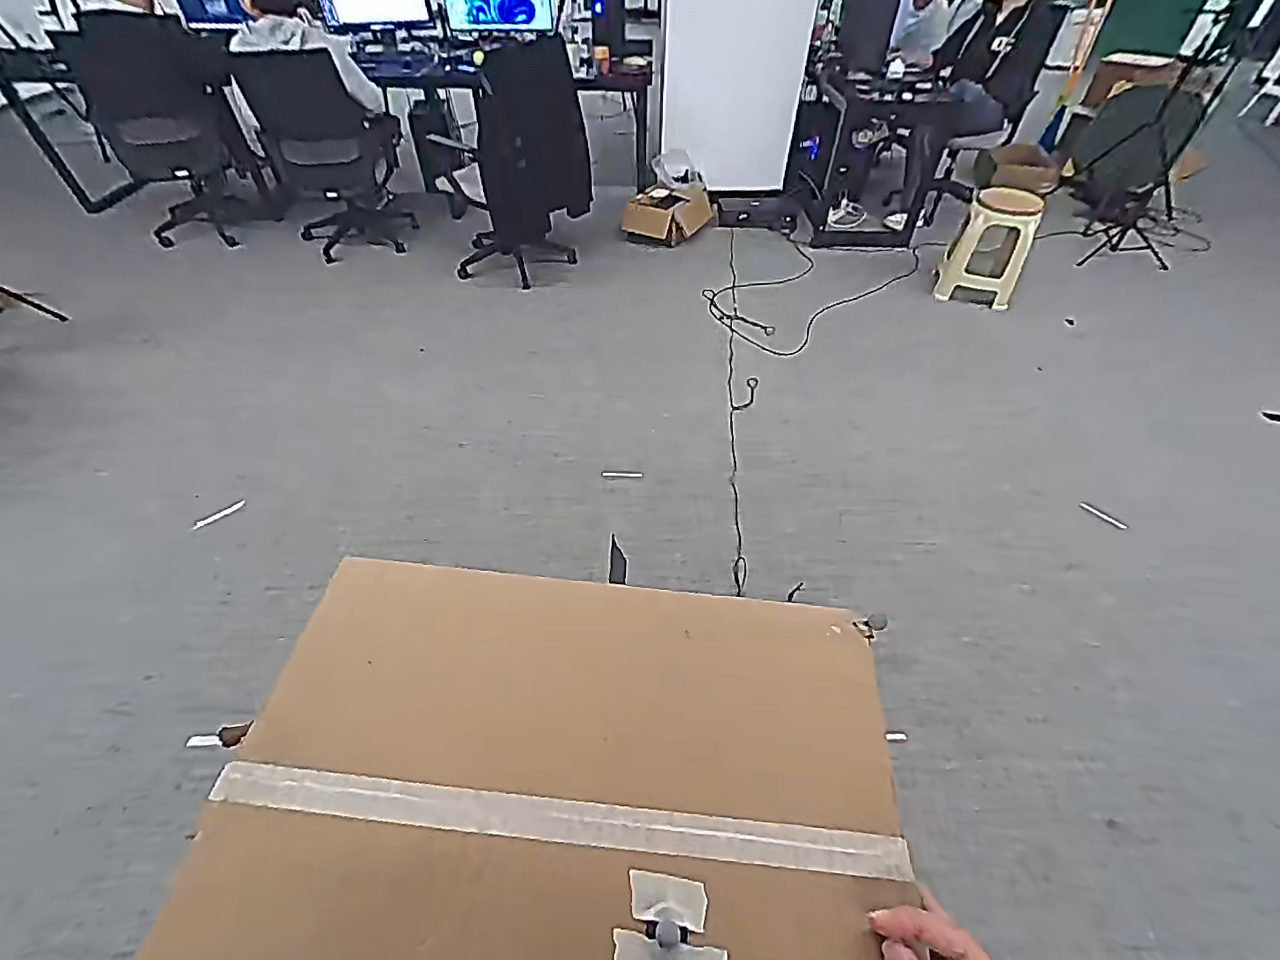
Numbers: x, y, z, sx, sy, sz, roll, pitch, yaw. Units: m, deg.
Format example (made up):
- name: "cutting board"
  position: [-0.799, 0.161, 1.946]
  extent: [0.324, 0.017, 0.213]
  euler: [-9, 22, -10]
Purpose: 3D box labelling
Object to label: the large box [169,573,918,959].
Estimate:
- name: "large box"
  position: [-0.049, 0.301, 0.442]
  extent: [0.408, 0.320, 0.320]
  euler: [6, 52, 1]
